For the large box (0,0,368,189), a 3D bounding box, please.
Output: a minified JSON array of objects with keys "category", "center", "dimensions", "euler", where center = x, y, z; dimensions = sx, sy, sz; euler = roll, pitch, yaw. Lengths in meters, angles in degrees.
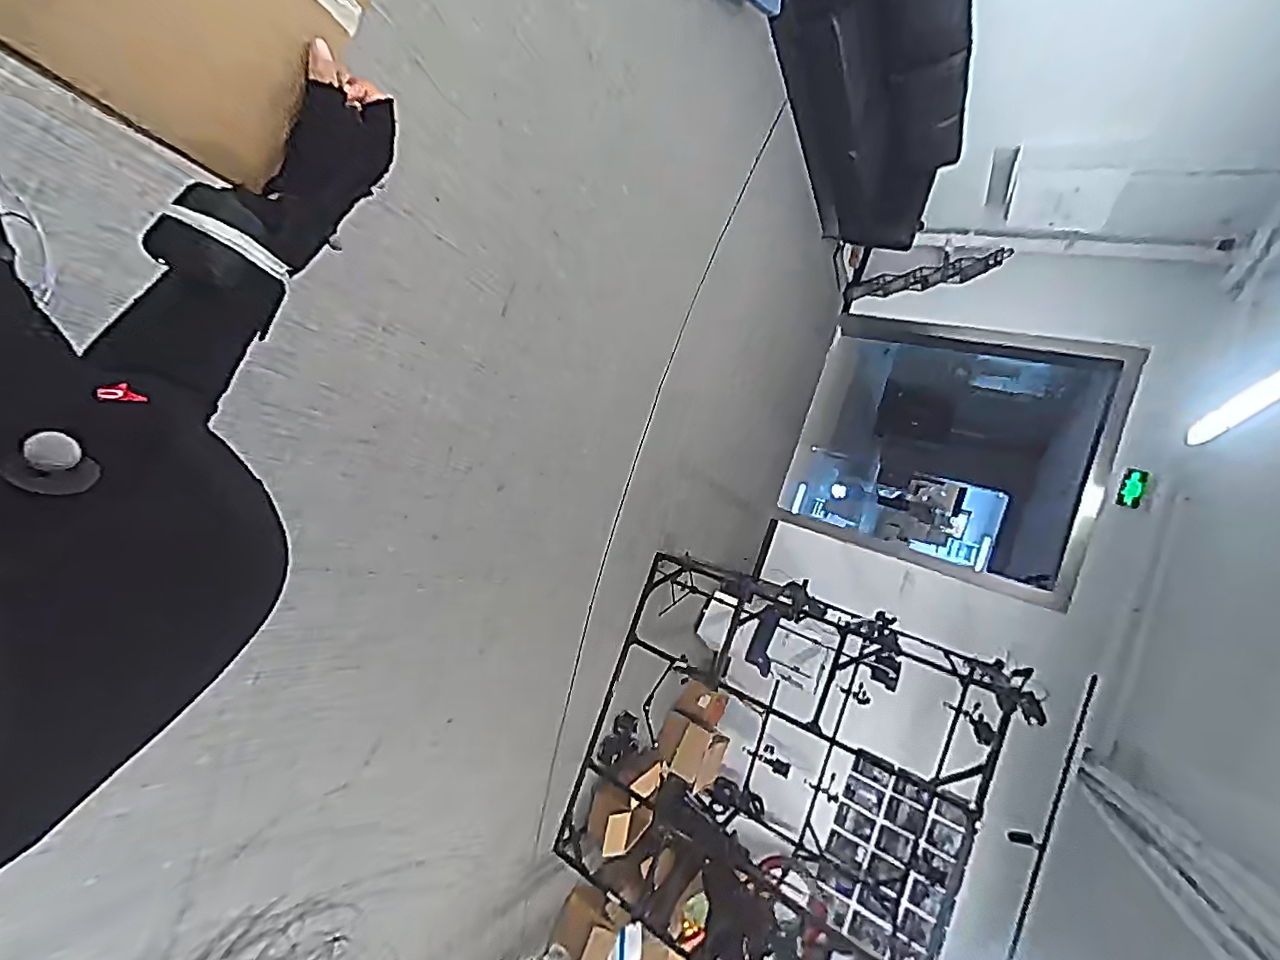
[{"category":"large box","center":[-0.427,-0.471,0.325],"dimensions":[0.320,0.320,0.408],"euler":[-58,153,4]}]
